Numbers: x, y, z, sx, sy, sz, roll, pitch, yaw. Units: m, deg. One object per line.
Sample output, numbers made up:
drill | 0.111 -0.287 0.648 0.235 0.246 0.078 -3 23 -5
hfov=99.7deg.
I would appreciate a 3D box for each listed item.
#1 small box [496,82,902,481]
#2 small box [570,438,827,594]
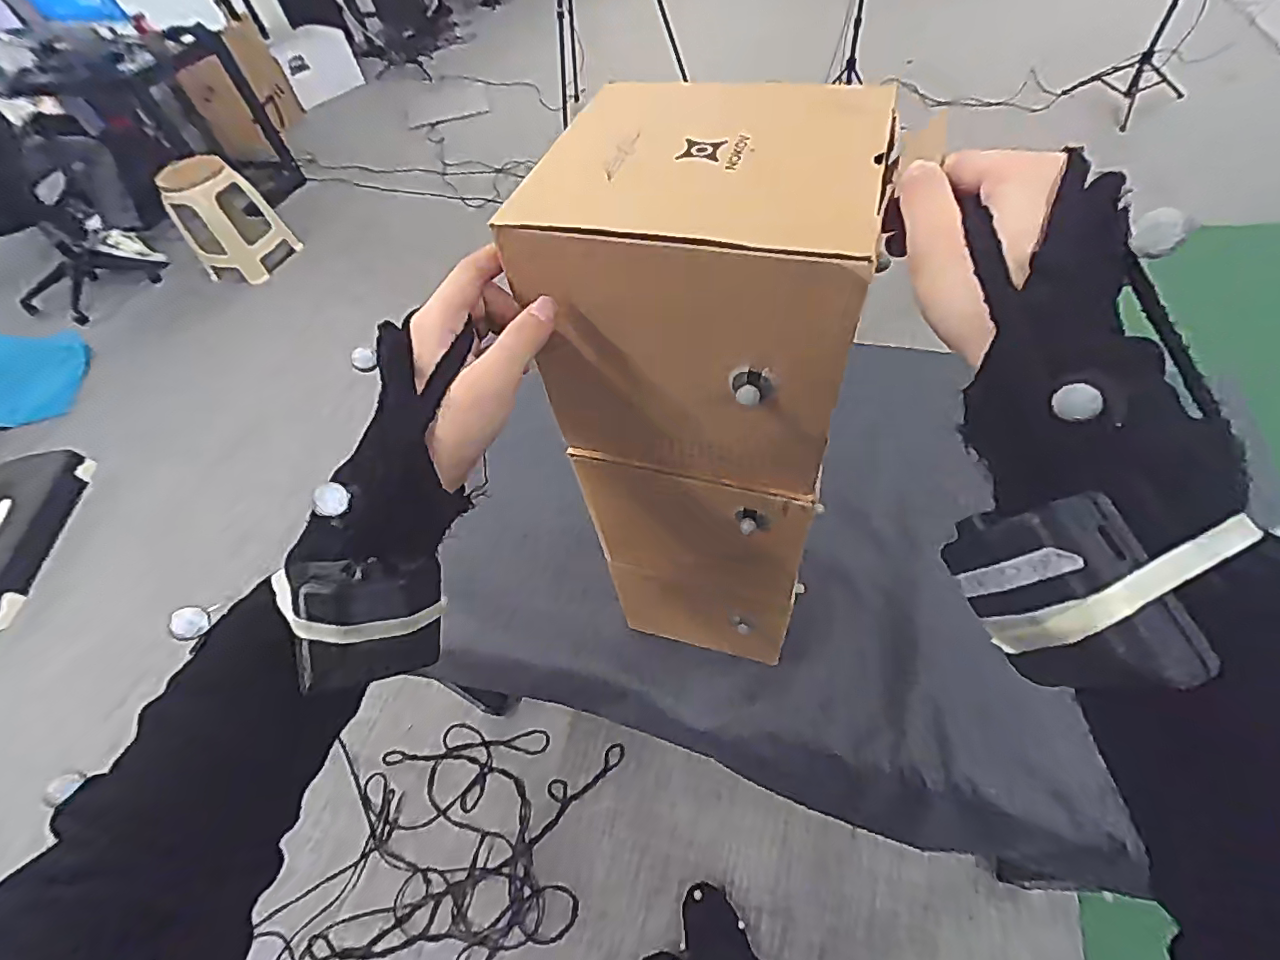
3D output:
small box | 0.045 -0.119 0.340 0.179 0.176 0.168 11 56 16
small box | 0.063 -0.021 0.469 0.179 0.176 0.168 11 57 15
